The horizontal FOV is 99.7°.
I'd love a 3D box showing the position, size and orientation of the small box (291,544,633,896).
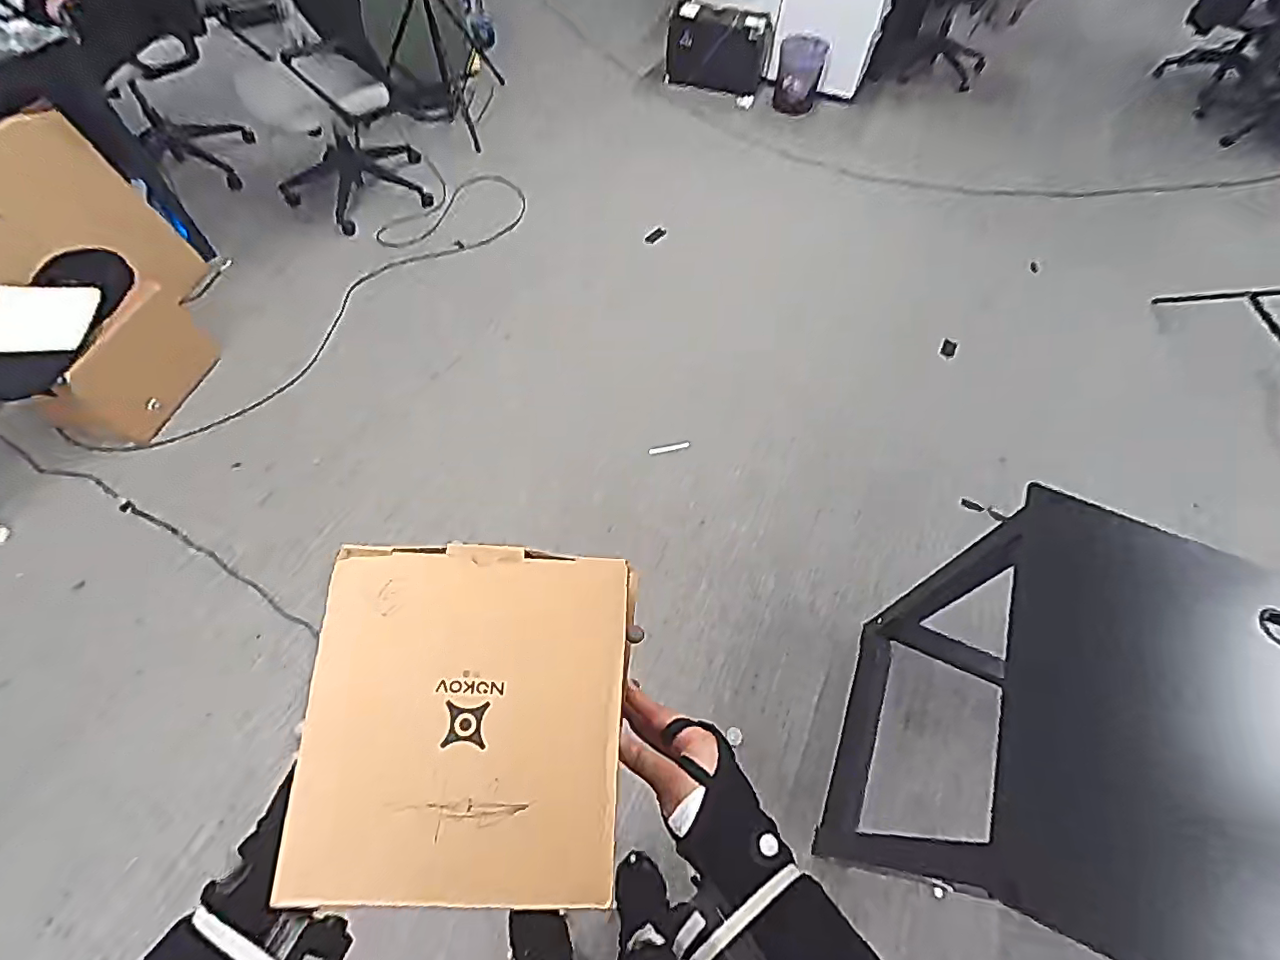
[{"bbox_3d":[-0.096,0.147,0.373,0.168,0.176,0.179,3,75,-3],"label":"small box"}]
